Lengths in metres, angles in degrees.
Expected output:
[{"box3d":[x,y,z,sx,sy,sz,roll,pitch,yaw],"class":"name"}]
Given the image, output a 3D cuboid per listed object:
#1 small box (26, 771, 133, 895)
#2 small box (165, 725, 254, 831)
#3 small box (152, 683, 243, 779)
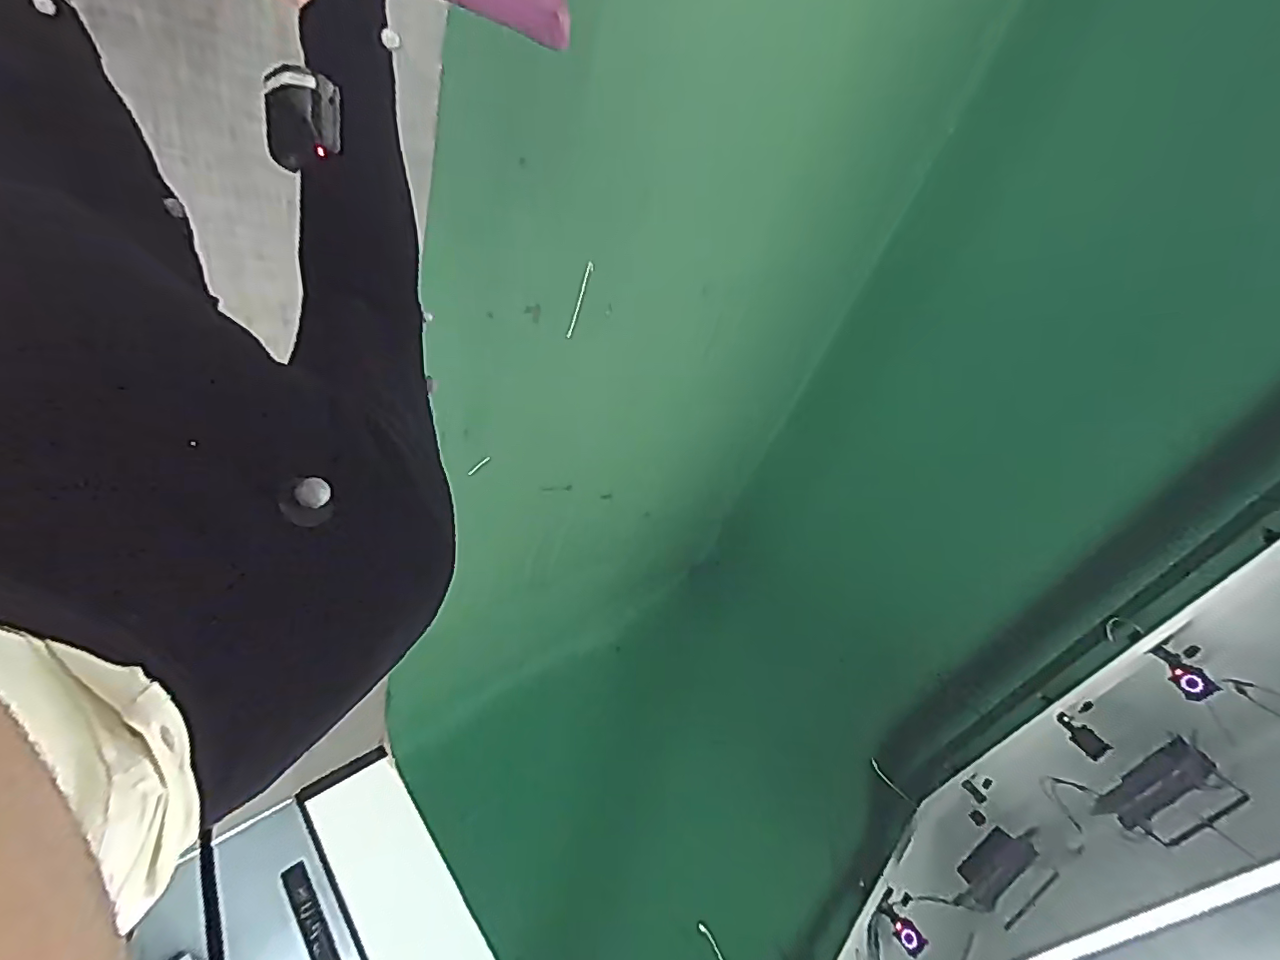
[{"box3d":[-1.387,0.861,1.341,0.168,0.176,0.179,-8,135,-50],"class":"small box"},{"box3d":[-1.232,0.844,1.545,0.168,0.176,0.179,-8,134,-49],"class":"small box"},{"box3d":[-1.333,0.746,1.628,0.179,0.176,0.168,-8,134,-50],"class":"small box"}]
